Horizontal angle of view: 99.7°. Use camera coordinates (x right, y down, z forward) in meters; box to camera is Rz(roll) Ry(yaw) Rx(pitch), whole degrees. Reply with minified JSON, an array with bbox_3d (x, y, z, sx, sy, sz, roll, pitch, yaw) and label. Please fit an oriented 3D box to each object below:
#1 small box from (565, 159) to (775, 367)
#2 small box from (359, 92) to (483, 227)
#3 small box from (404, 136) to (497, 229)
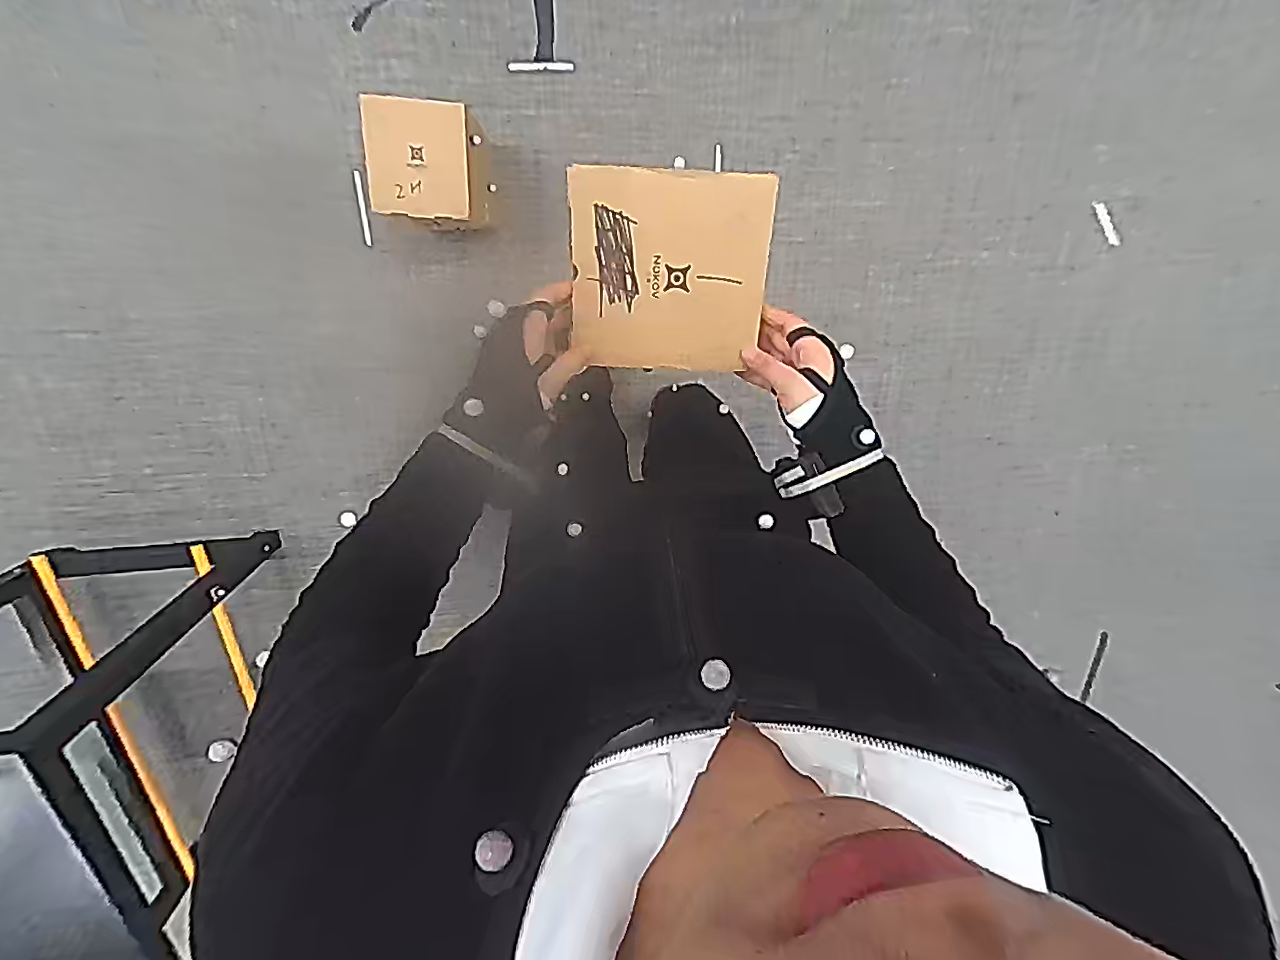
[{"bbox_3d":[0.022,-0.219,0.550,0.179,0.176,0.168,2,116,-2],"label":"small box"},{"bbox_3d":[-0.382,-0.563,0.973,0.168,0.176,0.179,1,112,-6],"label":"small box"},{"bbox_3d":[-0.400,-0.621,1.127,0.168,0.176,0.179,-4,113,-4],"label":"small box"}]
